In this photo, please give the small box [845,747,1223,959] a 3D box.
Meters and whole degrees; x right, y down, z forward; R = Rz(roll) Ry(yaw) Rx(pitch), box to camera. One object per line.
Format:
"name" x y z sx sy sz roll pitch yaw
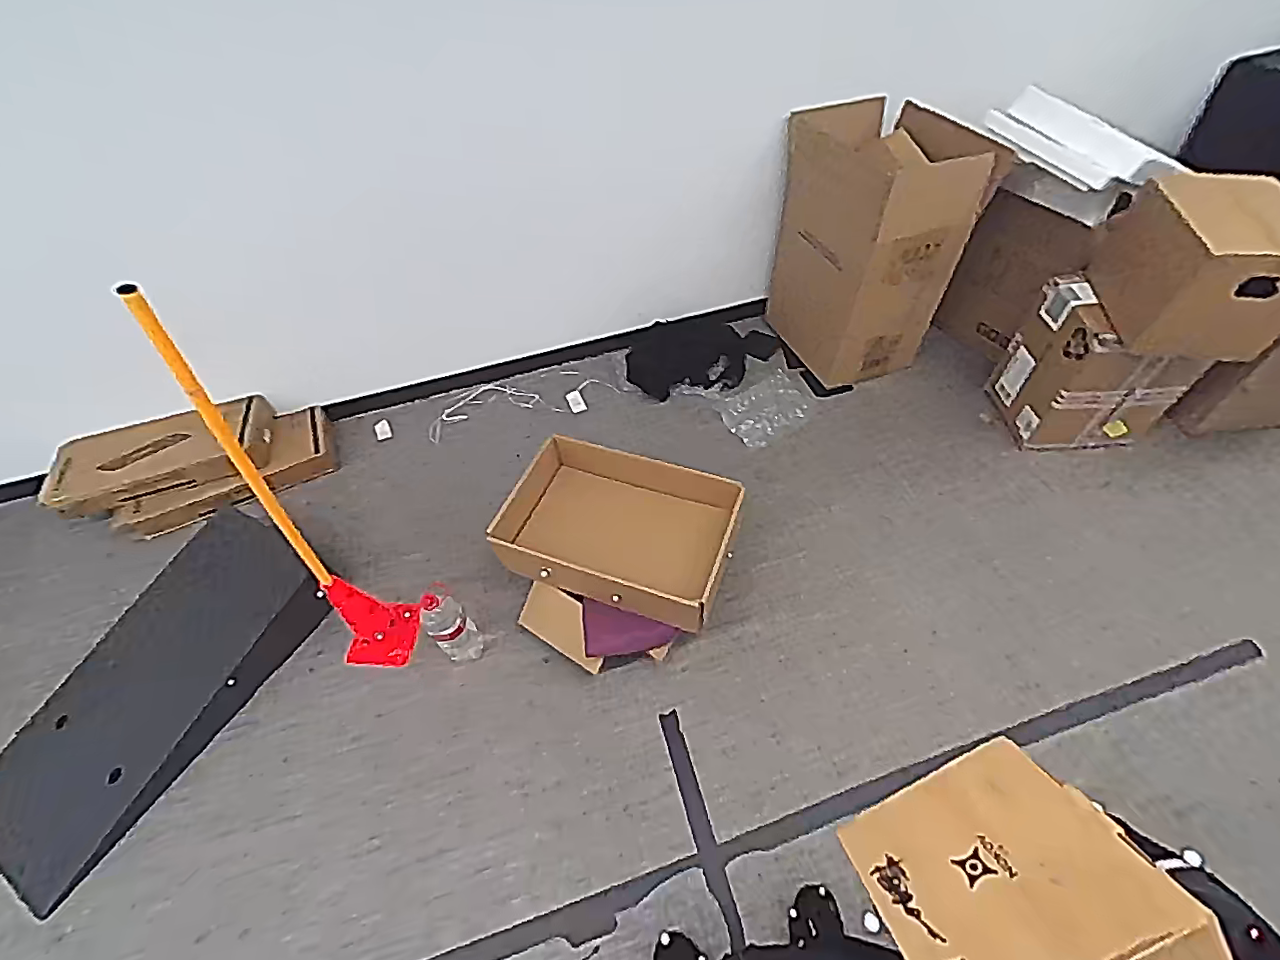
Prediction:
"small box" 0.301 0.362 0.423 0.179 0.176 0.168 -29 10 1
